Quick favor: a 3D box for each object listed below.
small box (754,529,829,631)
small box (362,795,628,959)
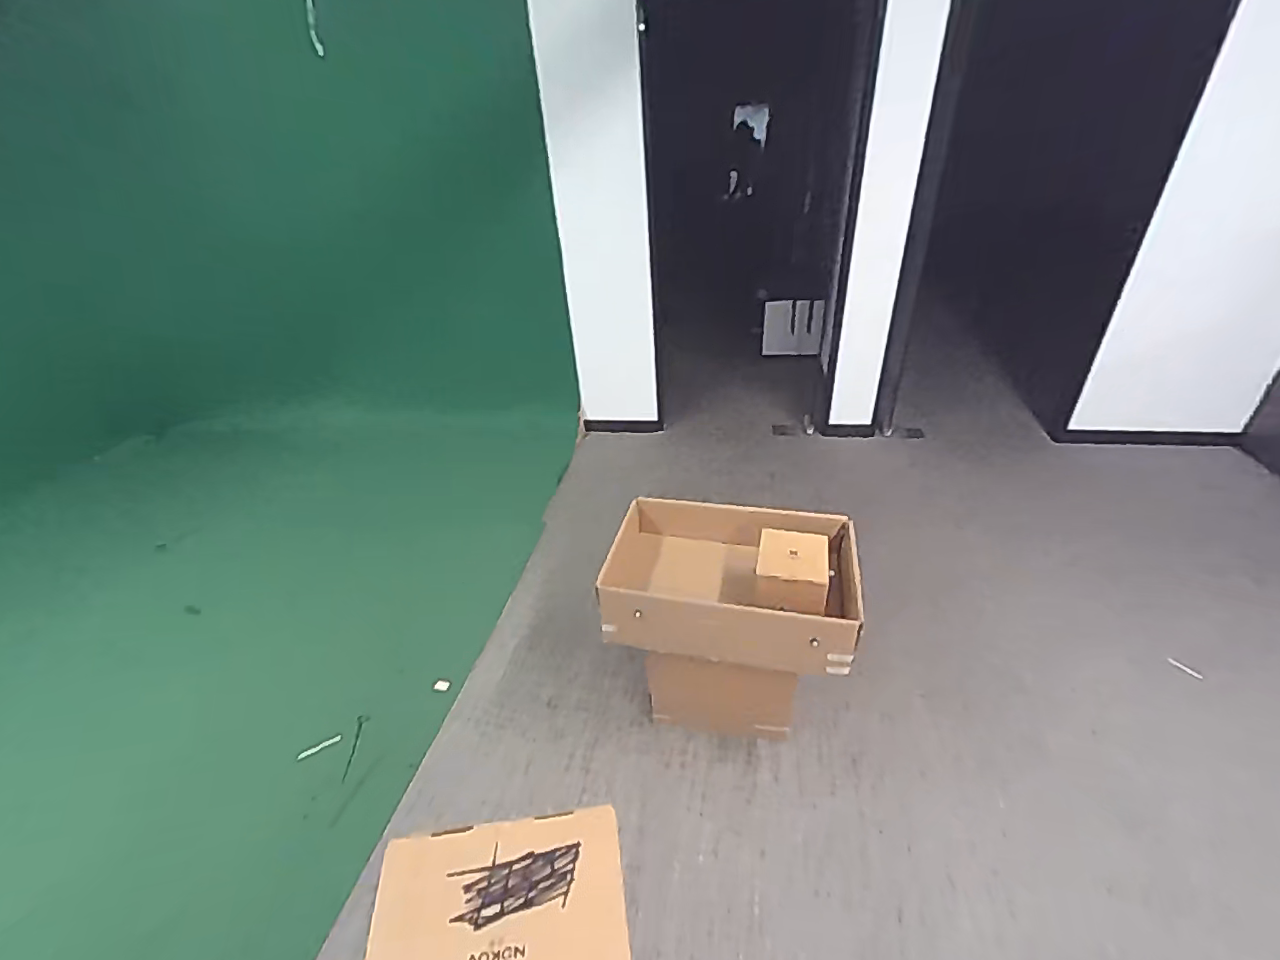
[{"bbox_3d":[0.379,0.248,1.360,0.168,0.176,0.179,5,35,15],"label":"small box"},{"bbox_3d":[-0.091,0.363,0.386,0.168,0.176,0.179,-6,38,-6],"label":"small box"}]
